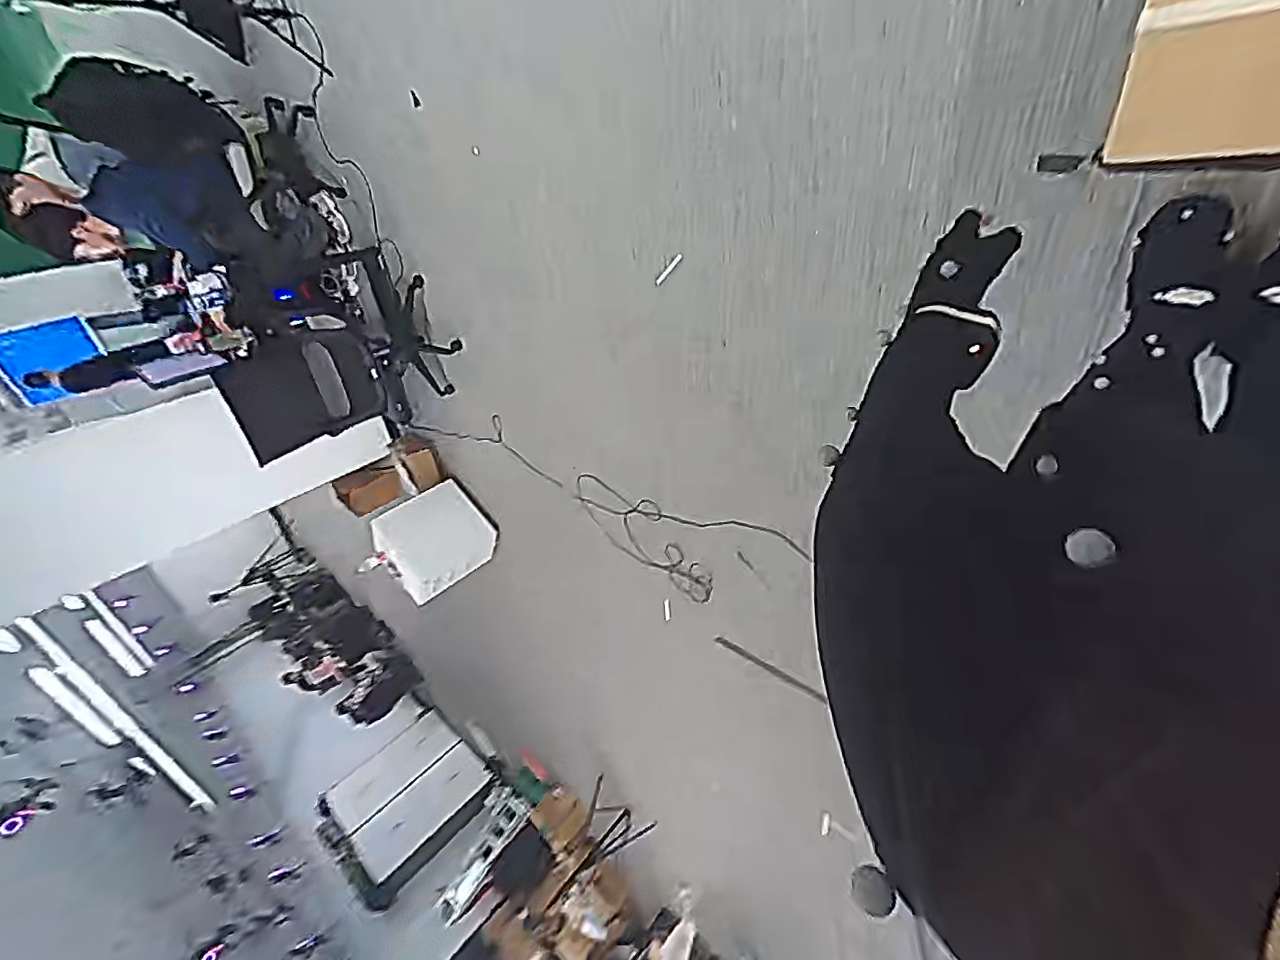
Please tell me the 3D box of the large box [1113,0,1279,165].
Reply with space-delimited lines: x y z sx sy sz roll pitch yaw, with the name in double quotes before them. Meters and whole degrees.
"large box" 0.878 -0.584 0.642 0.408 0.320 0.320 20 131 37
